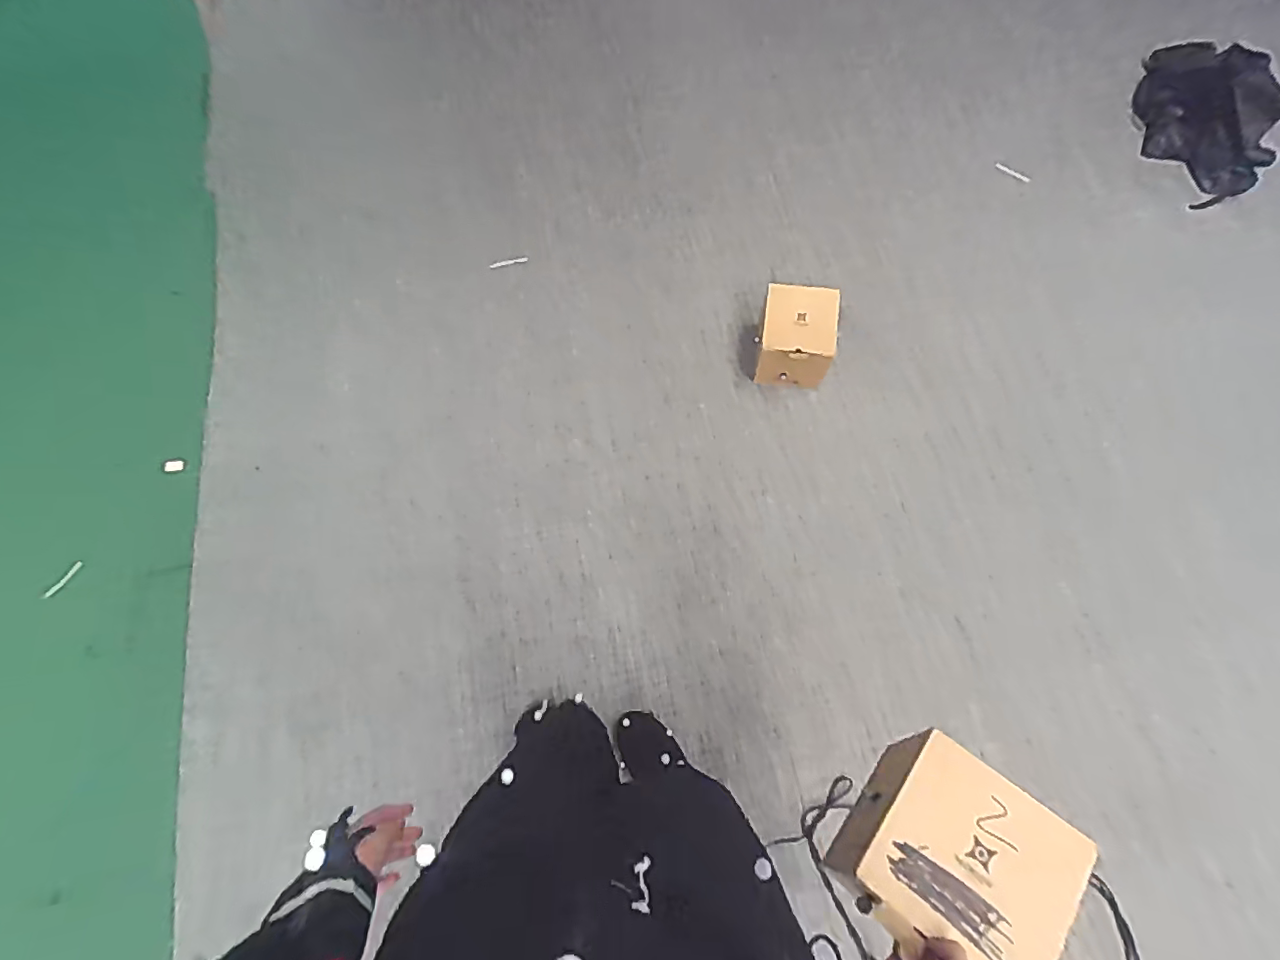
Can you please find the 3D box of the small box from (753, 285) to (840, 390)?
[{"bbox_3d":[0.371,-0.338,1.302,0.168,0.176,0.179,7,75,6],"label":"small box"}]
